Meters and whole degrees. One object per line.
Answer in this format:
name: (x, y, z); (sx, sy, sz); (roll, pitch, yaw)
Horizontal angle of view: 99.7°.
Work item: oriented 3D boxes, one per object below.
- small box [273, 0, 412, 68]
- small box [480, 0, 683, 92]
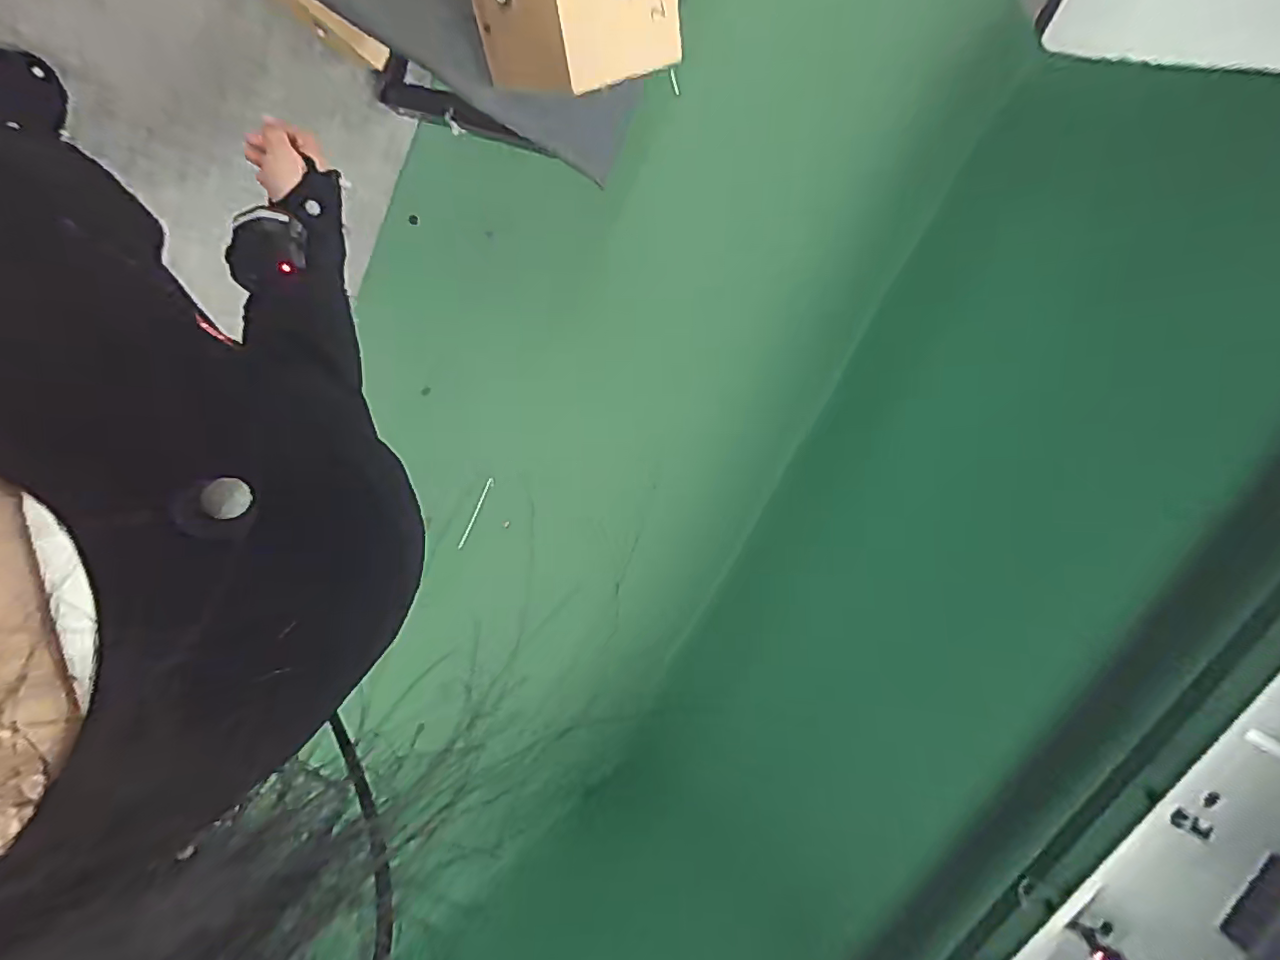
small box: (-0.565, -0.921, 1.012); (0.179, 0.176, 0.168); (16, 107, -57)
small box: (-0.074, -0.554, 0.610); (0.179, 0.176, 0.168); (-37, 141, -25)
